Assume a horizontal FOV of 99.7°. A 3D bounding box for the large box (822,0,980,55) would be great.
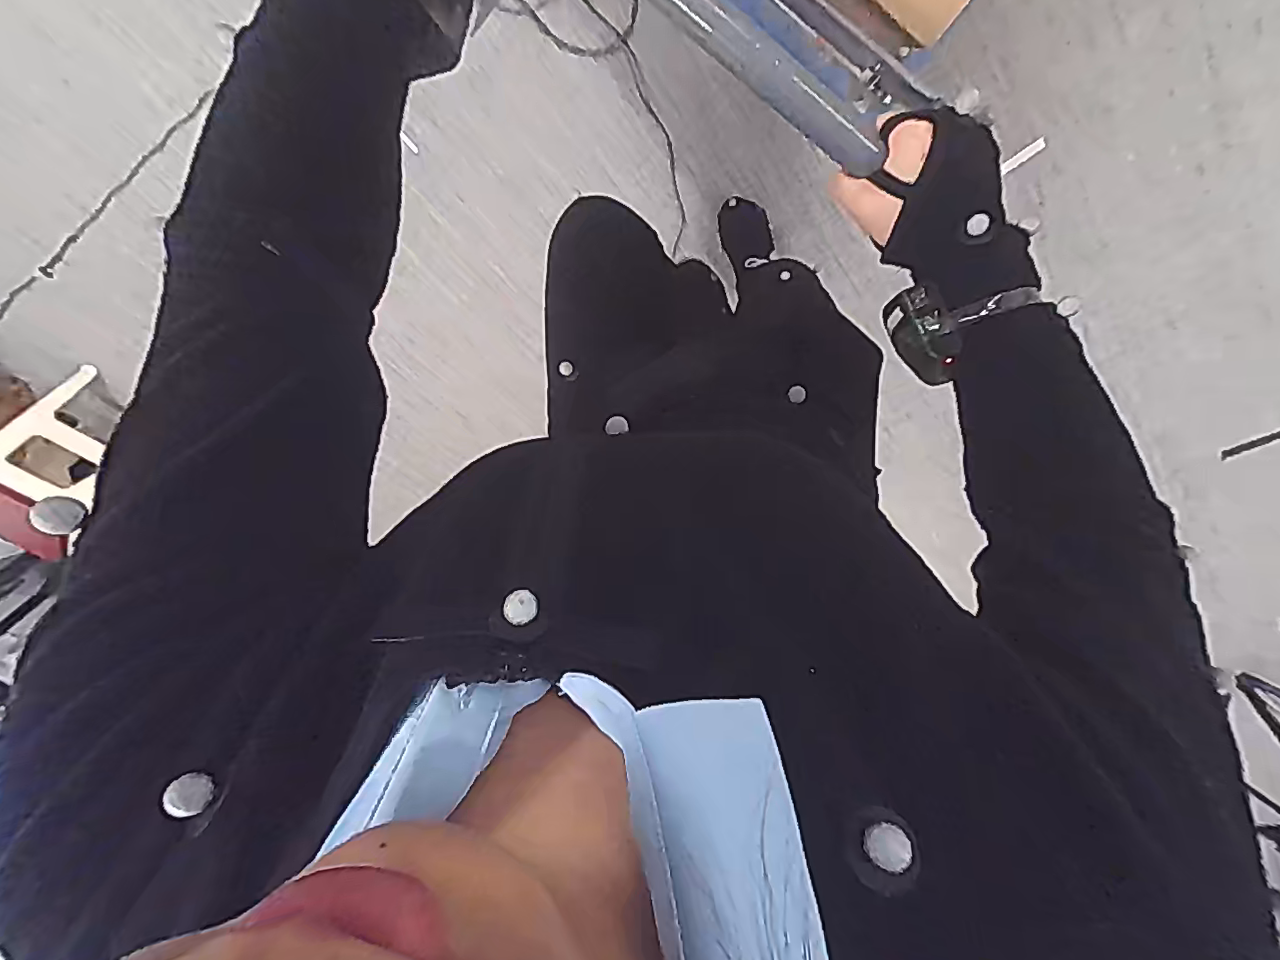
[{"bbox_3d":[0.267,-0.765,0.595,0.408,0.320,0.320,30,129,-15],"label":"large box"}]
